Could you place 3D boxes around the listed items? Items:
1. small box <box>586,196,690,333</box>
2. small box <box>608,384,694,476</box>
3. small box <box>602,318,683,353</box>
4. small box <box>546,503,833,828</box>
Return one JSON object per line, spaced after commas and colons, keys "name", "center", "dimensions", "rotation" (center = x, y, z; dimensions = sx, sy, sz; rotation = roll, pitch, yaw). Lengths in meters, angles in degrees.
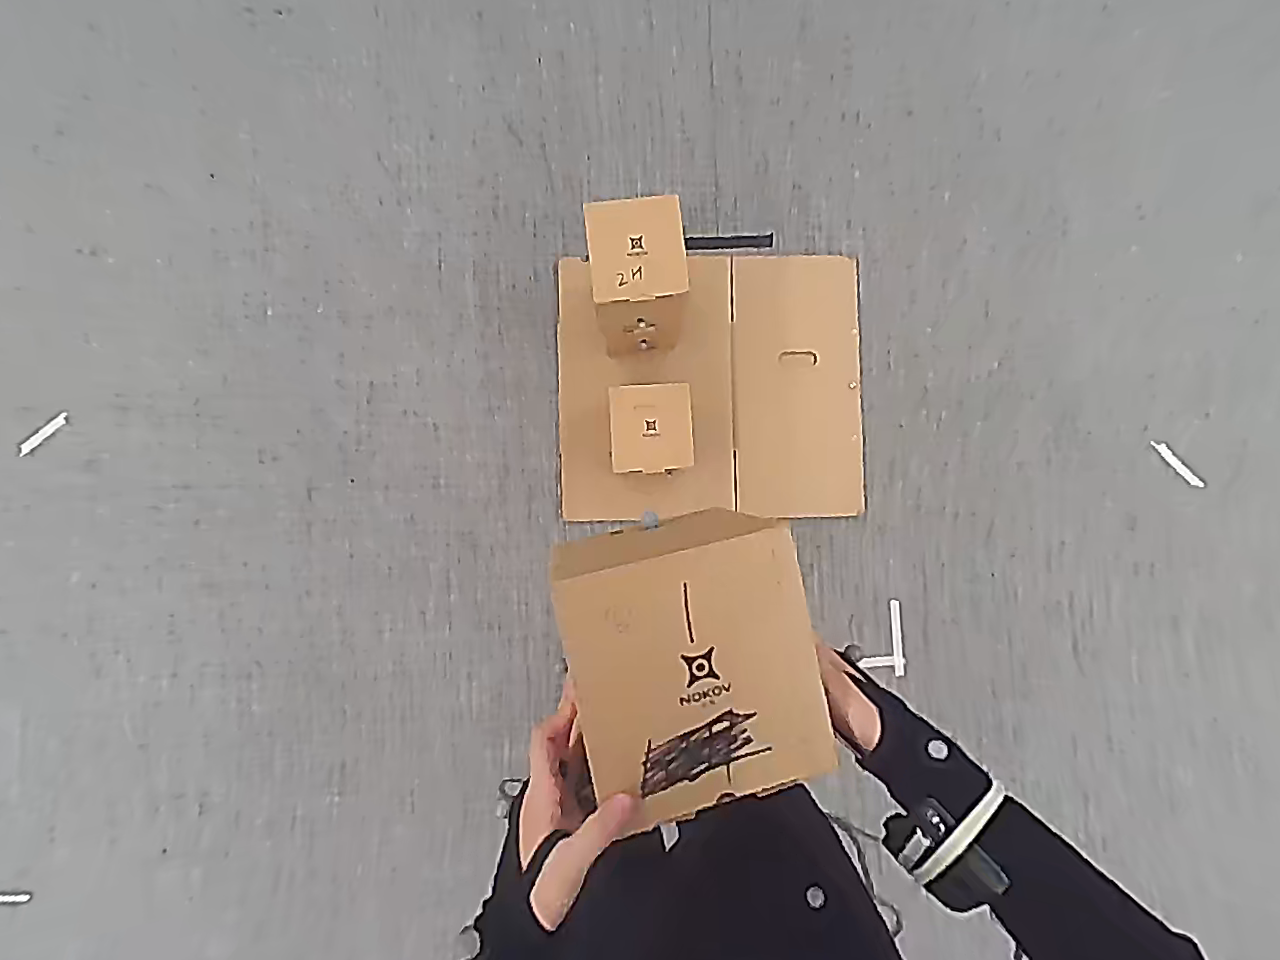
{"name": "small box", "center": [-0.006, -0.386, 0.992], "dimensions": [0.168, 0.176, 0.179], "rotation": [-7, 88, -1]}
{"name": "small box", "center": [0.021, -0.098, 1.150], "dimensions": [0.168, 0.176, 0.179], "rotation": [-4, 88, -2]}
{"name": "small box", "center": [-0.005, -0.380, 1.157], "dimensions": [0.168, 0.176, 0.179], "rotation": [-8, 89, -2]}
{"name": "small box", "center": [0.026, 0.123, 0.433], "dimensions": [0.168, 0.176, 0.179], "rotation": [-13, 92, -8]}
